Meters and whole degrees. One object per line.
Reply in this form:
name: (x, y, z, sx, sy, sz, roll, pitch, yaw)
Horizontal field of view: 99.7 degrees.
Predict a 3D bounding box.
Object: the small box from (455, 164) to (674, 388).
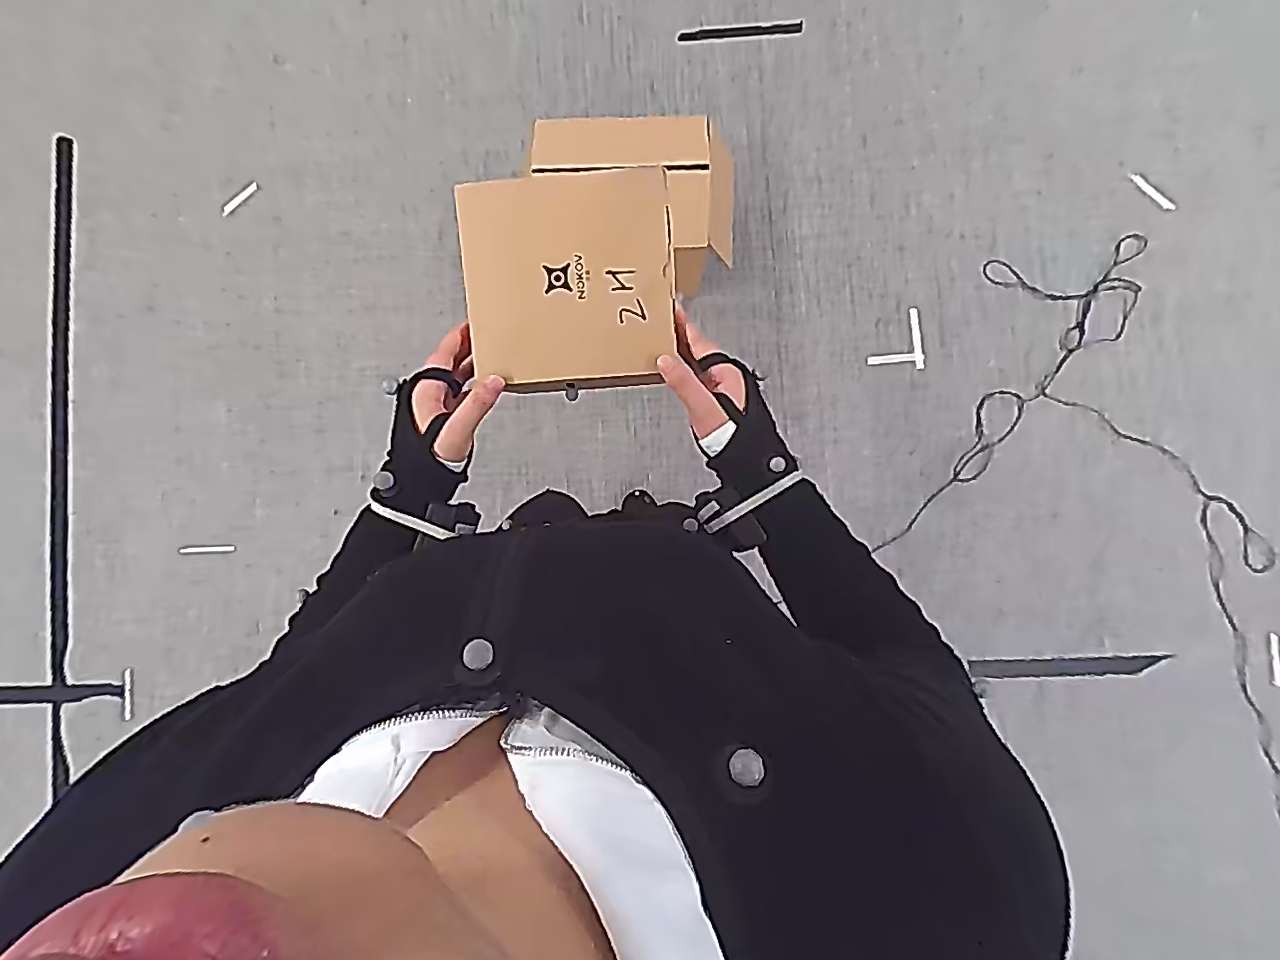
small box: (-0.061, -0.181, 0.532, 0.179, 0.176, 0.168, -4, 97, 1)
